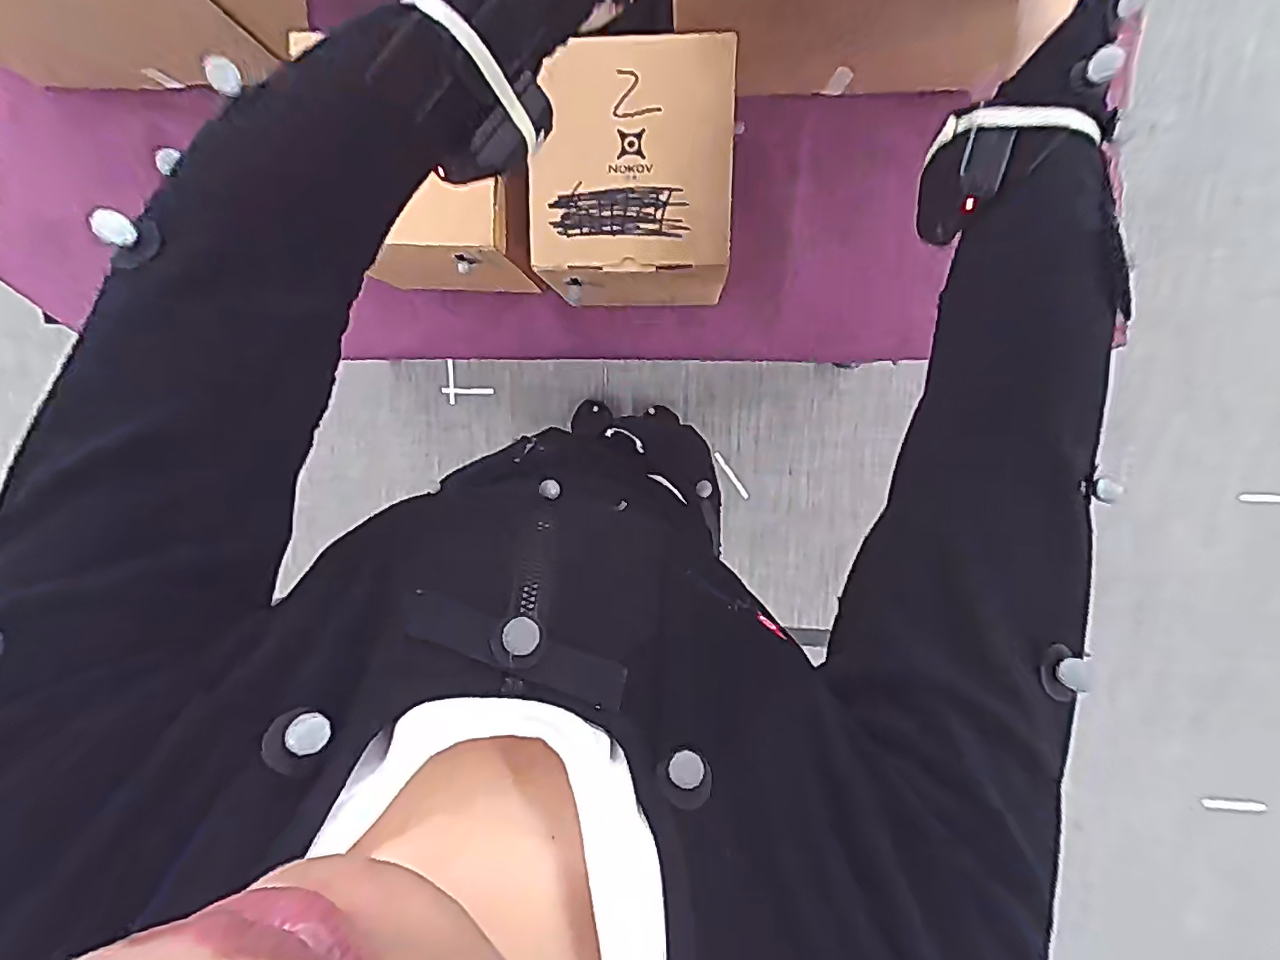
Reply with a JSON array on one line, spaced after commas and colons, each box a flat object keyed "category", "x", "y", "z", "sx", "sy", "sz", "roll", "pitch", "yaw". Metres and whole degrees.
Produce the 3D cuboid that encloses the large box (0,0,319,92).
[{"category": "large box", "x": -0.513, "y": -0.610, "z": 0.431, "sx": 0.320, "sy": 0.320, "sz": 0.408, "roll": 0, "pitch": 100, "yaw": 2}]
